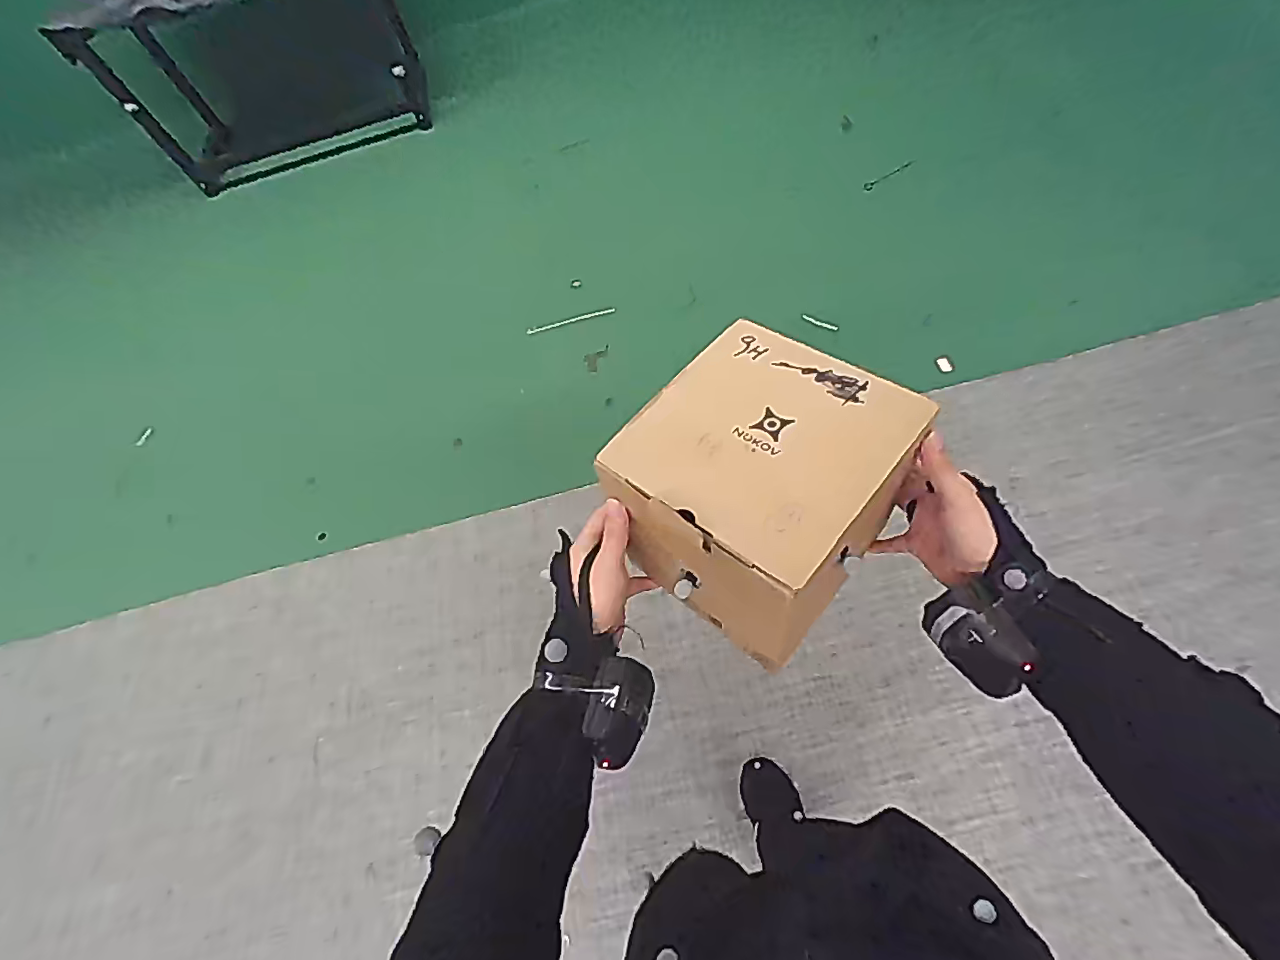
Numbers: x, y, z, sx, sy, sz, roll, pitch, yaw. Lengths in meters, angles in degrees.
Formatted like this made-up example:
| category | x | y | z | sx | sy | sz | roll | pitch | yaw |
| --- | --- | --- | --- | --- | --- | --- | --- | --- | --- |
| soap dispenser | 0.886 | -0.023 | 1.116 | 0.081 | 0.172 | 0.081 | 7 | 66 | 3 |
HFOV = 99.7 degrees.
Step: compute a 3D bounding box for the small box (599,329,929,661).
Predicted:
| category | x | y | z | sx | sy | sz | roll | pitch | yaw |
| --- | --- | --- | --- | --- | --- | --- | --- | --- | --- |
| small box | 0.097 | 0.017 | 0.443 | 0.168 | 0.176 | 0.179 | 34 | 68 | 28 |
